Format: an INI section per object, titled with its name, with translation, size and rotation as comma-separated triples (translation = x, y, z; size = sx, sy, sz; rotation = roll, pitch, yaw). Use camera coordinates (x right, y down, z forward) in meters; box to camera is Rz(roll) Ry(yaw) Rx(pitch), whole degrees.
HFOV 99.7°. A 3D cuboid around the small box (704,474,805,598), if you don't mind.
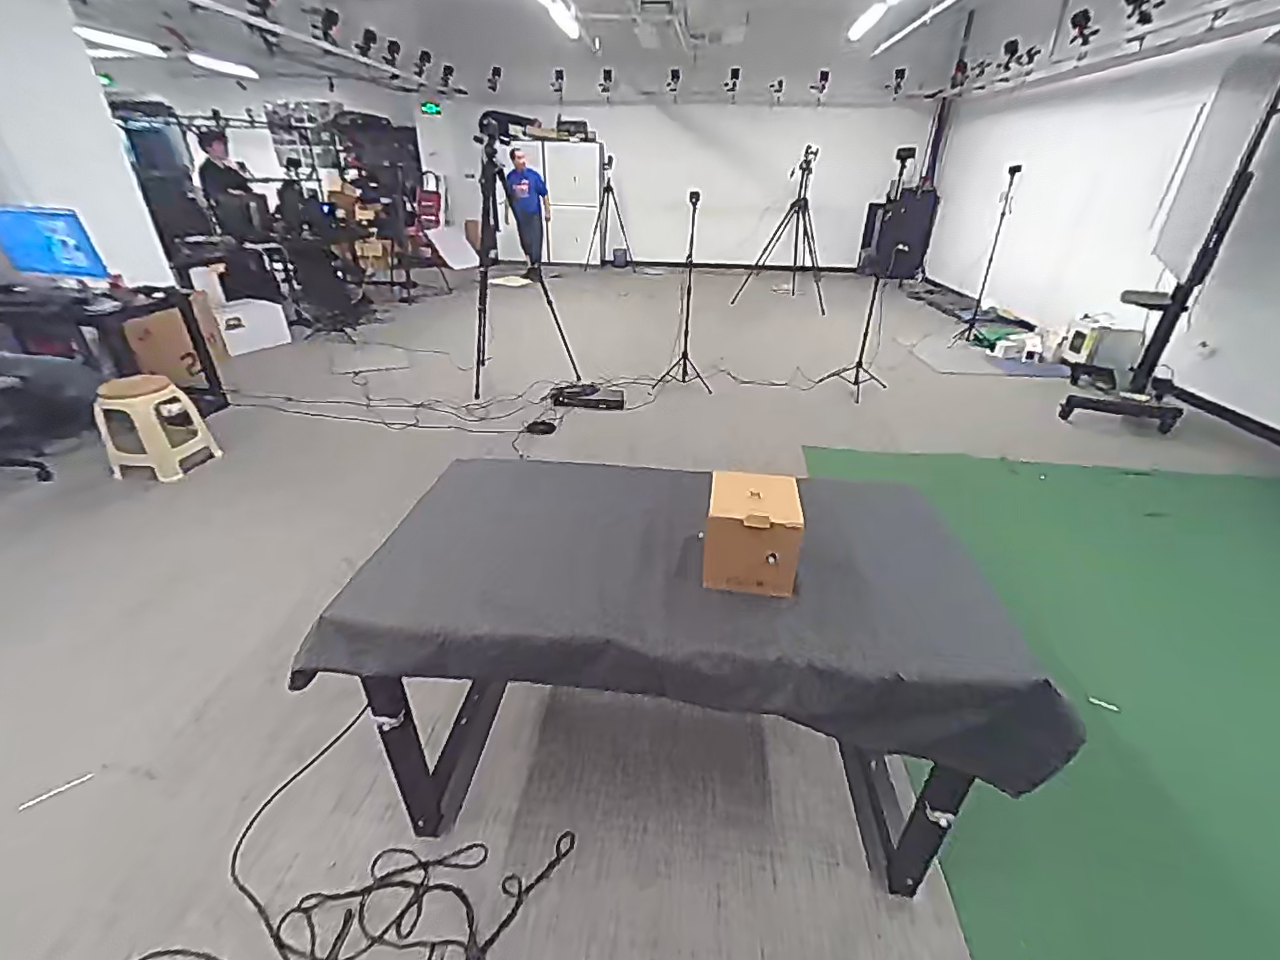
[small box]
translation = 0.215, 0.106, 1.045
size = 0.168, 0.176, 0.179
rotation = 6, 28, 6
